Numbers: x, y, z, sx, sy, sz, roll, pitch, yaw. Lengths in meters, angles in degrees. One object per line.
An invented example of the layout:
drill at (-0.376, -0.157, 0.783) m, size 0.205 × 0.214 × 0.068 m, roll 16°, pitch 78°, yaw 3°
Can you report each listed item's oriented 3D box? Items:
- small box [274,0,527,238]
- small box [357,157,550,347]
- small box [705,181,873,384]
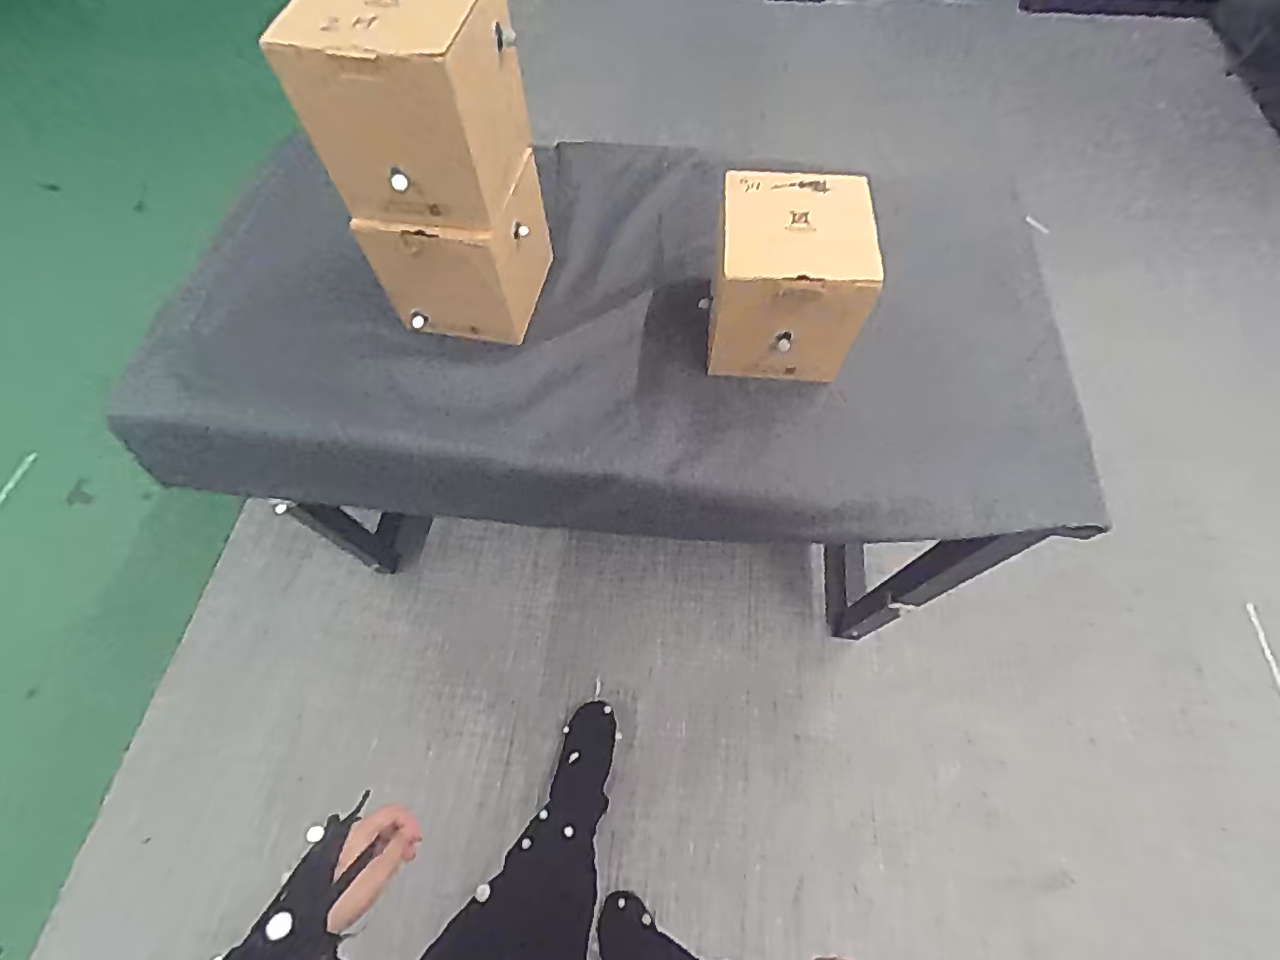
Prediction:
small box at (-0.228, -0.391, 0.575) m, size 0.168 × 0.176 × 0.179 m, roll 7°, pitch 63°, yaw 5°
small box at (-0.226, -0.301, 0.713) m, size 0.168 × 0.176 × 0.179 m, roll 9°, pitch 62°, yaw 5°
small box at (0.173, -0.239, 0.677) m, size 0.168 × 0.176 × 0.179 m, roll 4°, pitch 63°, yaw 3°
